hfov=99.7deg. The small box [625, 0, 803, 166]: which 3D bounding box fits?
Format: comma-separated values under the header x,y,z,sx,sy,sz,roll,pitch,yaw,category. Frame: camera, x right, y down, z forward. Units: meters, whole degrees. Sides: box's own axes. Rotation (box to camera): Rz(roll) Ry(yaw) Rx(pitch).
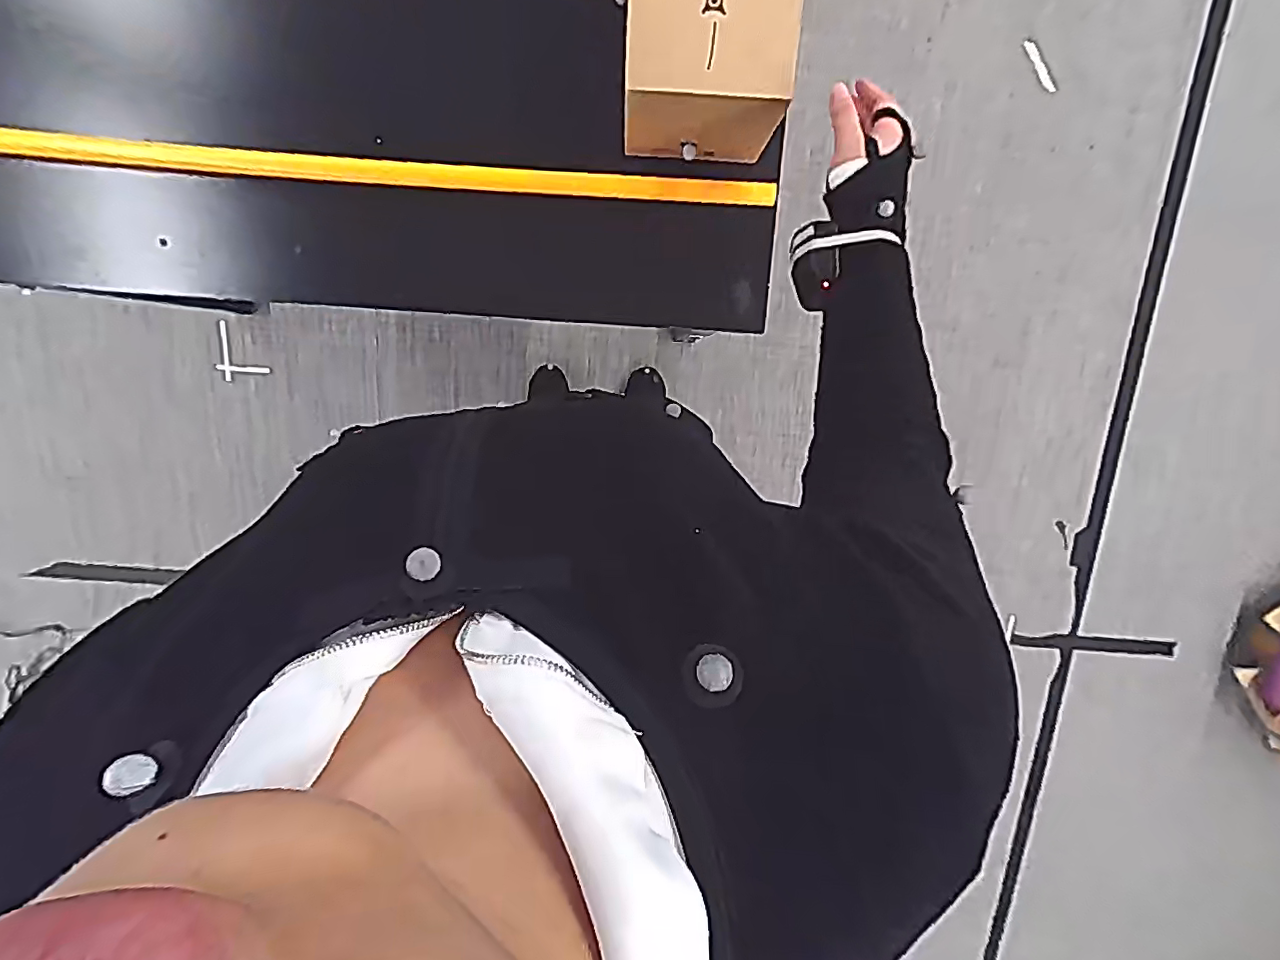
x,y,z,sx,sy,sz,roll,pitch,yaw,category
0.071,-0.473,0.588,0.168,0.176,0.179,3,102,-2,small box
